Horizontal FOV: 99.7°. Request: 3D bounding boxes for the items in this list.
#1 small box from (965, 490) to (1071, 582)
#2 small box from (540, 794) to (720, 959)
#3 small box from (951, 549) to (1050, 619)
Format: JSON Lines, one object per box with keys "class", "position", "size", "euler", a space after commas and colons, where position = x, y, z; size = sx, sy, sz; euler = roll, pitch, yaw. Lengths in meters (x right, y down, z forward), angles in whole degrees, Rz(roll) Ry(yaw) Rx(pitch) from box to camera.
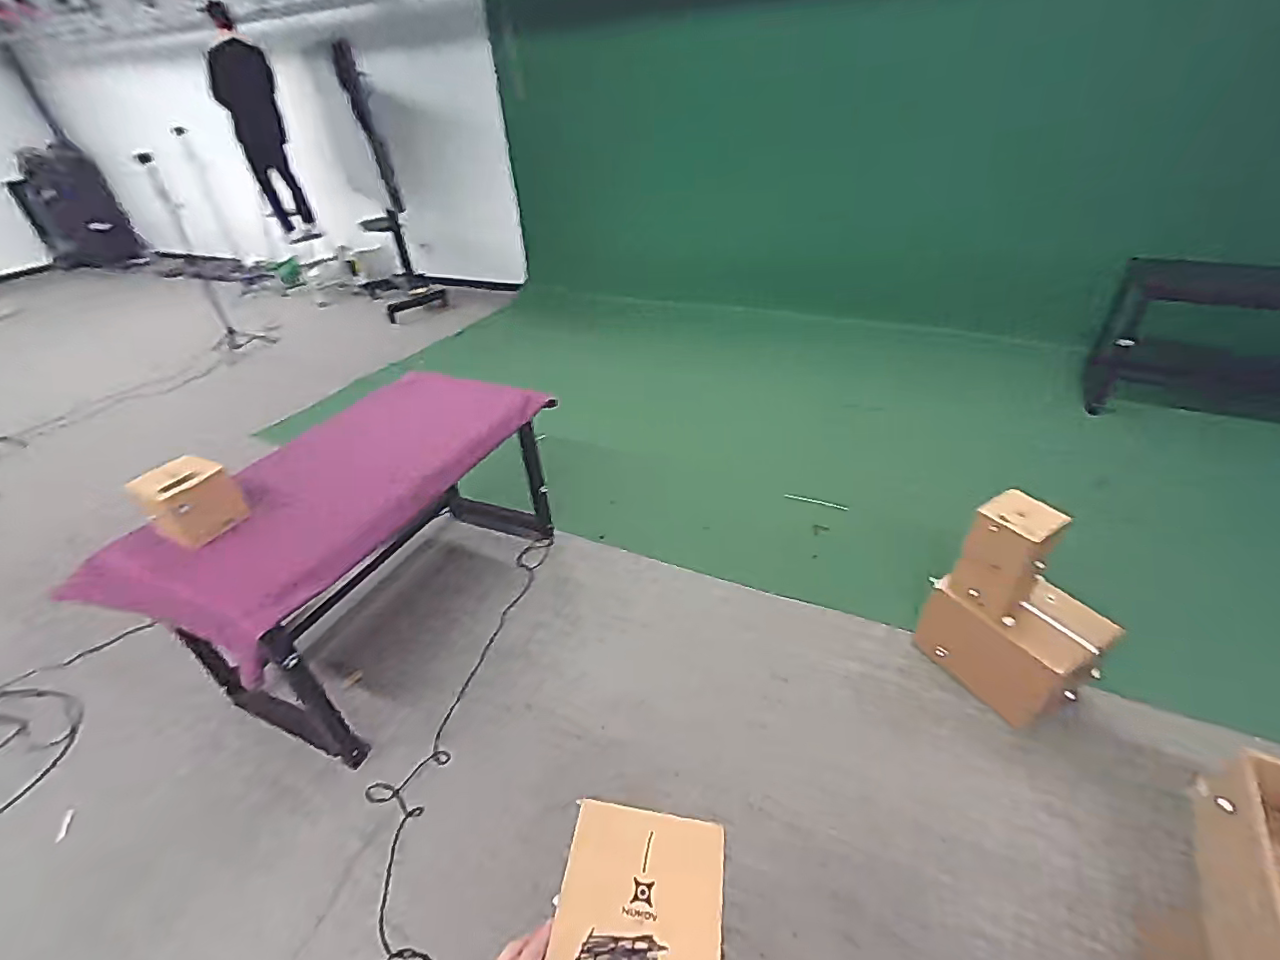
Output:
{"class": "small box", "position": [1.083, 0.162, 1.564], "size": [0.179, 0.176, 0.168], "euler": [-21, 40, -23]}
{"class": "small box", "position": [-0.006, 0.484, 0.589], "size": [0.168, 0.176, 0.179], "euler": [7, 34, 5]}
{"class": "small box", "position": [1.100, 0.291, 1.665], "size": [0.179, 0.176, 0.168], "euler": [-21, 40, -21]}
